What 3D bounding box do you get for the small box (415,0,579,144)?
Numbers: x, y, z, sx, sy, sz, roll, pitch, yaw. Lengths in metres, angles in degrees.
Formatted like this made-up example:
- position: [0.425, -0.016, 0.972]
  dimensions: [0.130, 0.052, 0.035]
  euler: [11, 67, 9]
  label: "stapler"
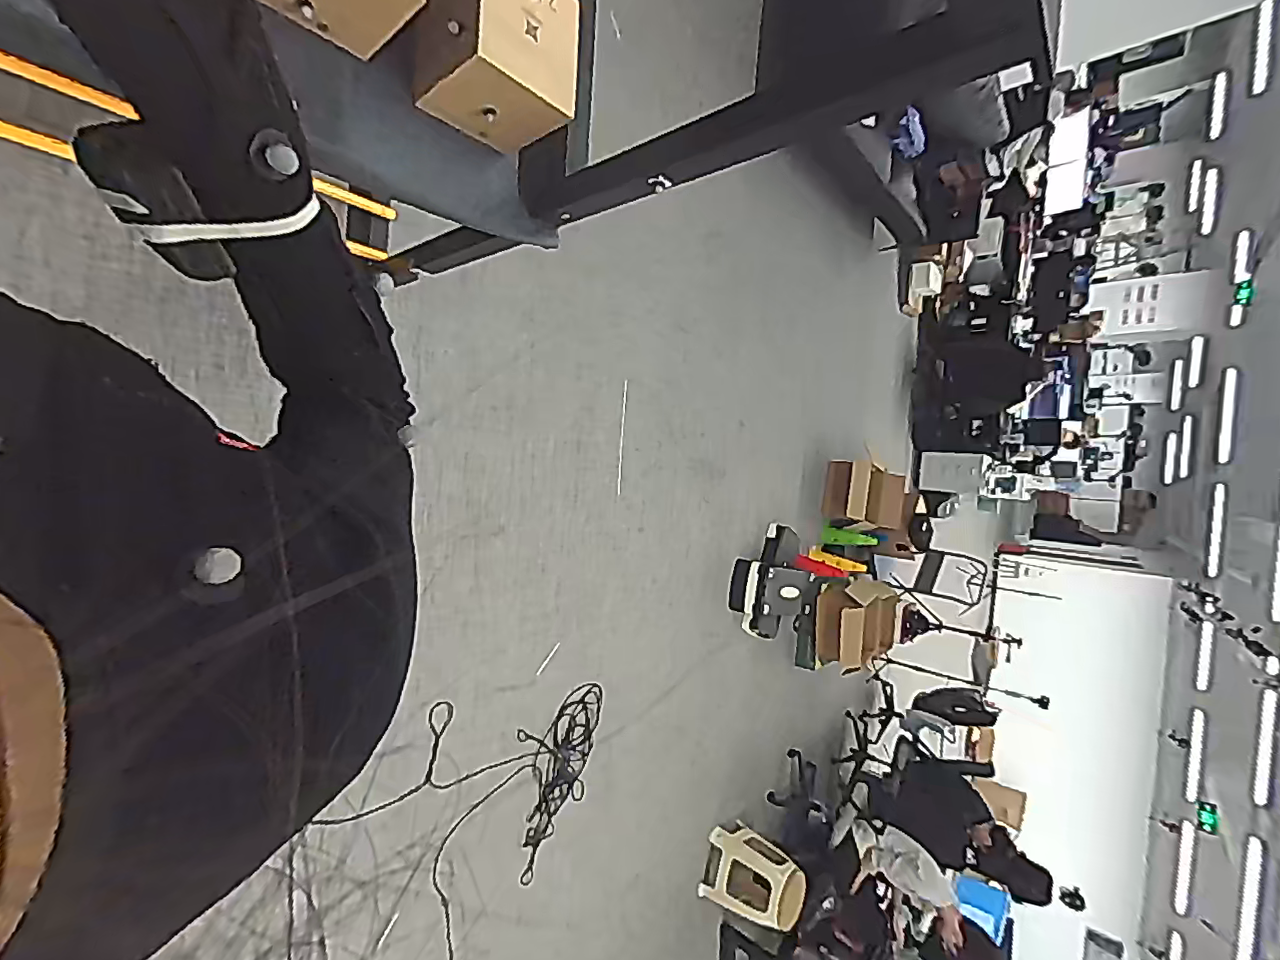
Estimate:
- position: [-0.211, -0.634, 0.791]
  dimensions: [0.168, 0.176, 0.179]
  euler: [0, 94, -50]
  label: "small box"
